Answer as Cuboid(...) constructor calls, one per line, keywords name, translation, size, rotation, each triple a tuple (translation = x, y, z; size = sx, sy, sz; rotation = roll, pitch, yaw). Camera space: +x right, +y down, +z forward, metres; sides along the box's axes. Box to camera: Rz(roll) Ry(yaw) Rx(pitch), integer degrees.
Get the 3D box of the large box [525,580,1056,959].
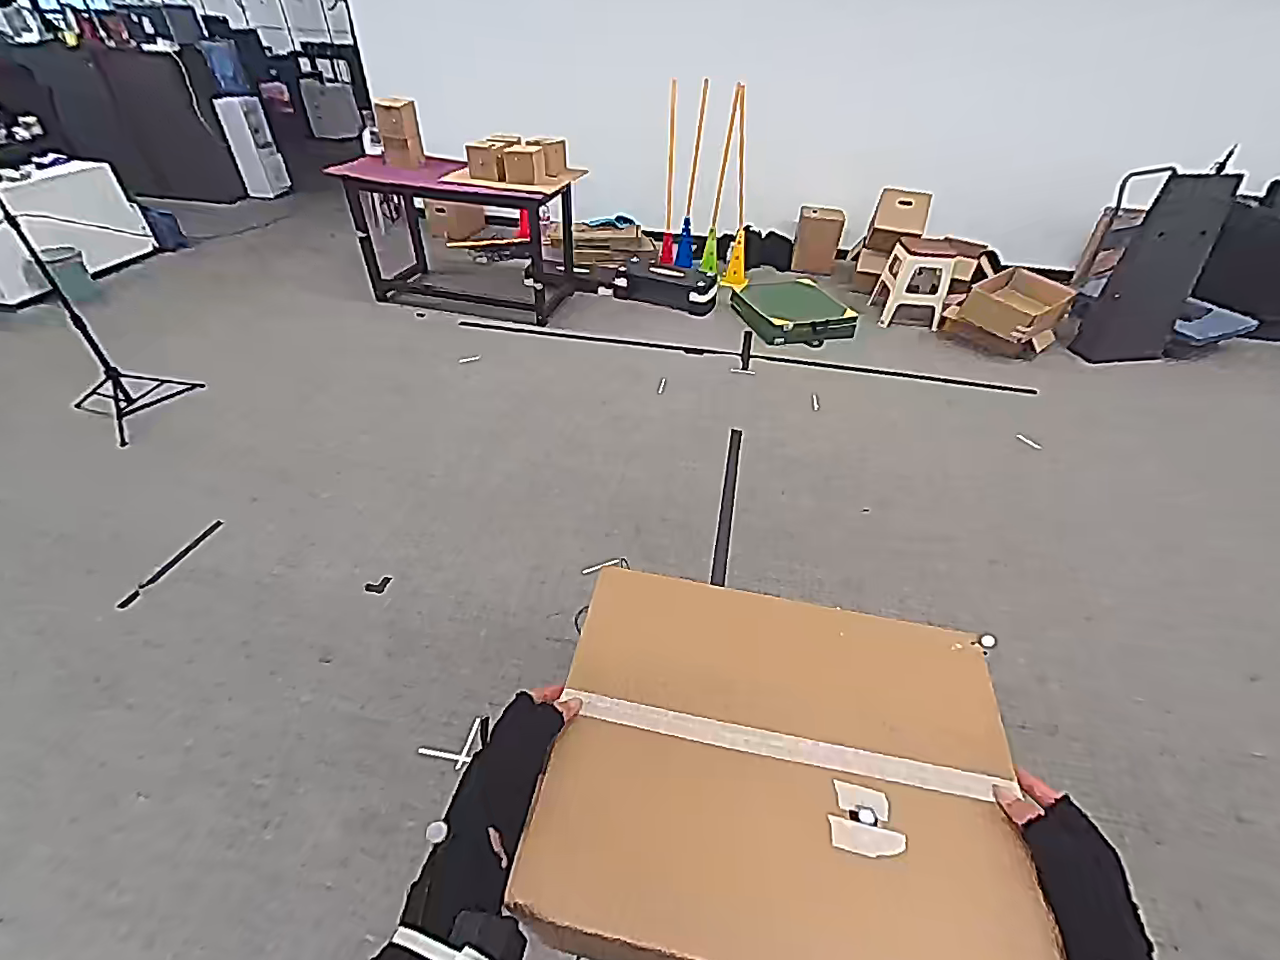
Cuboid(name="large box", translation=(0.123, 0.352, 0.595), size=(0.408, 0.320, 0.320), rotation=(10, 46, 6))
